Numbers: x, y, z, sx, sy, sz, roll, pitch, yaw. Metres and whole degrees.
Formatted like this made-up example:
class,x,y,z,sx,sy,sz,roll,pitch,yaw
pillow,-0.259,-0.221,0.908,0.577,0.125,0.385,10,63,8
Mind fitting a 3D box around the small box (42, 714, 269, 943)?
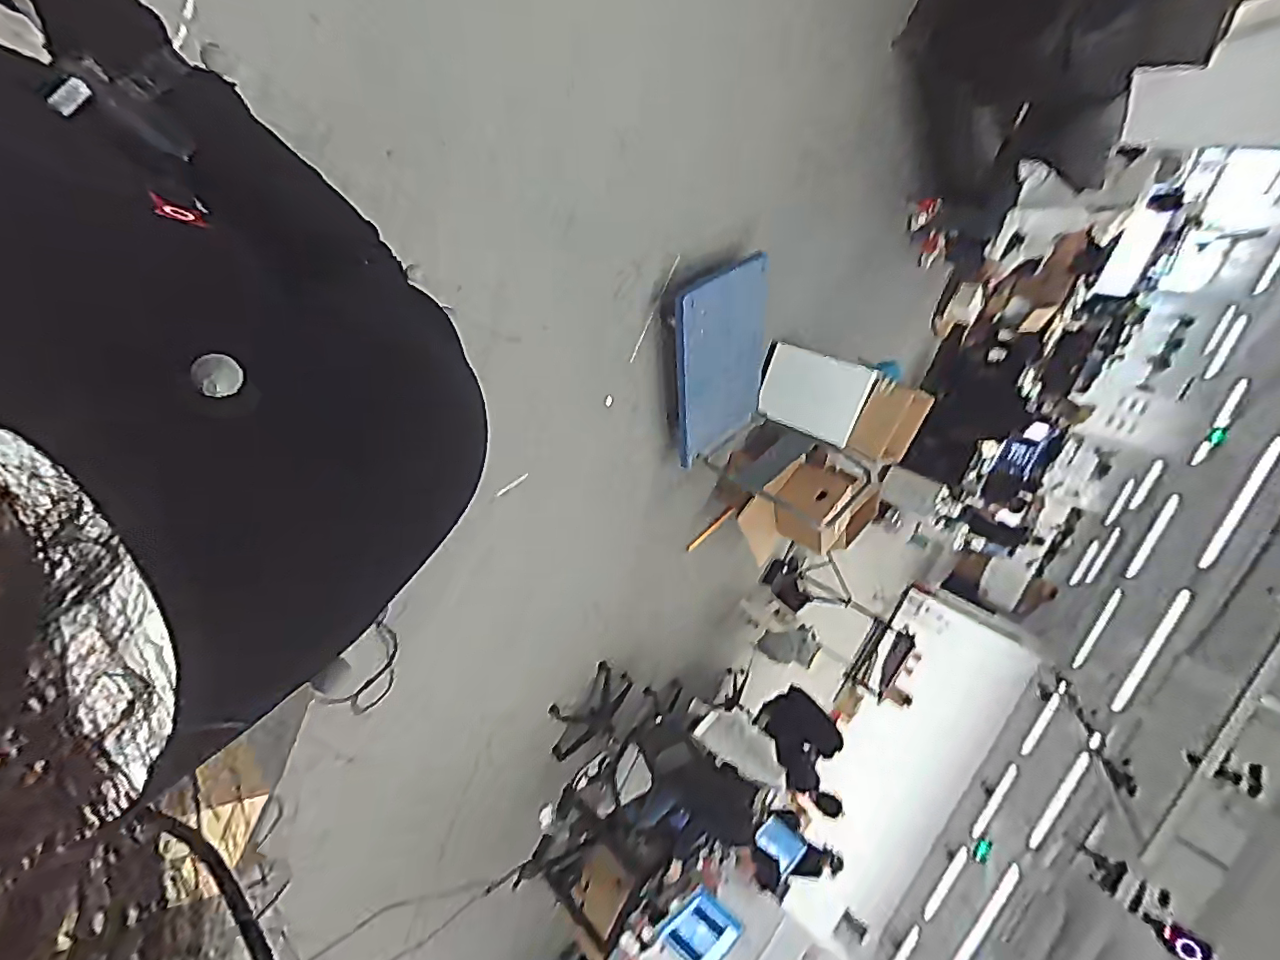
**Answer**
class,x,y,z,sx,sy,sz,roll,pitch,yaw
small box,-0.655,0.447,0.731,0.179,0.176,0.168,20,98,-56
